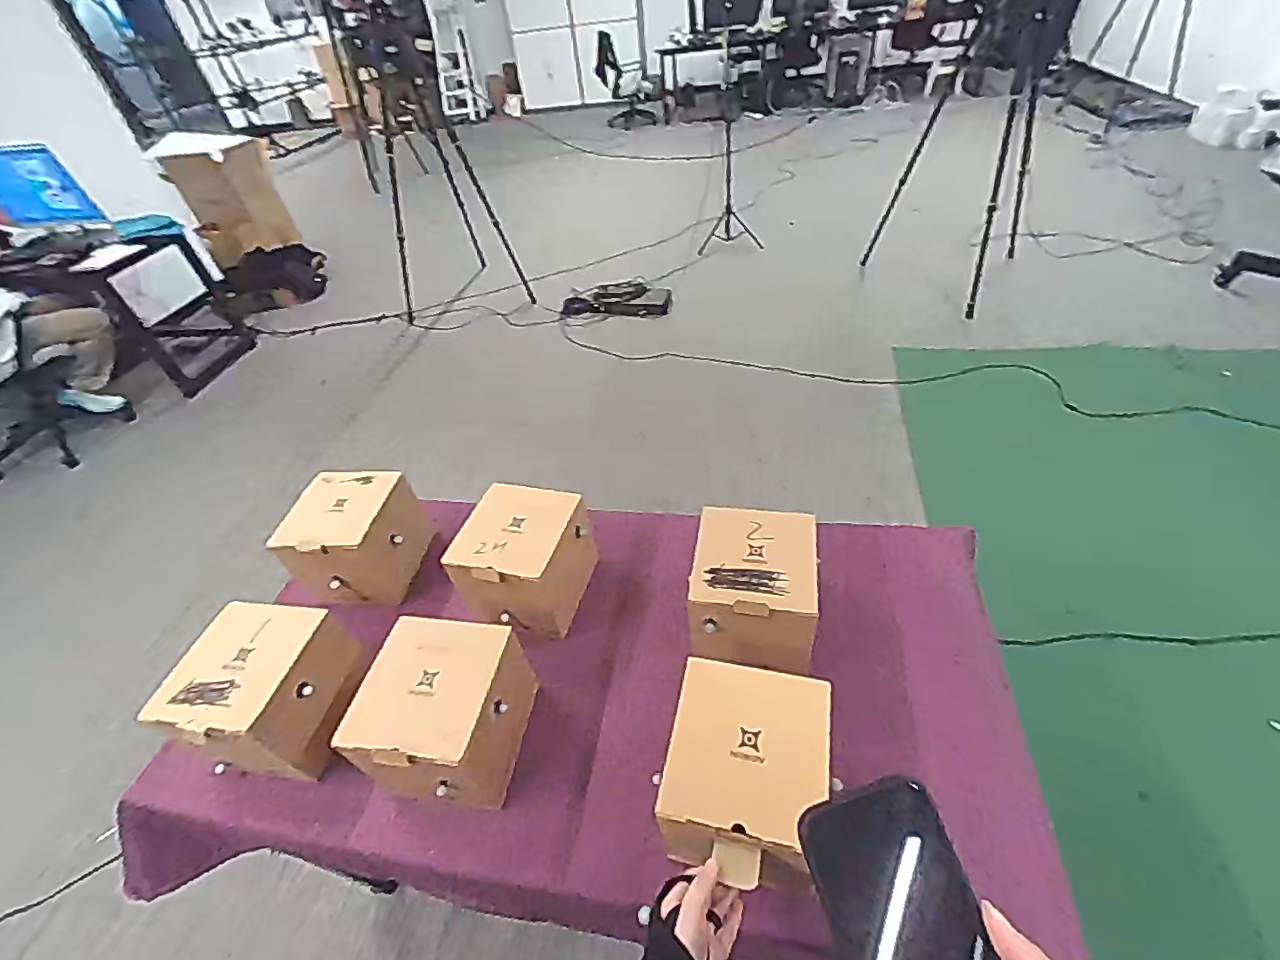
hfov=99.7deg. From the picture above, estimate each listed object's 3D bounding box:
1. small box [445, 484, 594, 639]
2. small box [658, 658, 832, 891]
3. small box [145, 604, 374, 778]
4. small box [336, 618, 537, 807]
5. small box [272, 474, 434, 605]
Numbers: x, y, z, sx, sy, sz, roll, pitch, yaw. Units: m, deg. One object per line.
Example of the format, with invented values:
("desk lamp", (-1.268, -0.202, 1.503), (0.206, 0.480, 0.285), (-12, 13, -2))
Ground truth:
("small box", (-0.184, 0.133, 0.897), (0.168, 0.176, 0.179), (7, 46, 17))
("small box", (0.124, 0.340, 0.629), (0.168, 0.176, 0.179), (6, 46, 15))
("small box", (-0.522, 0.303, 0.777), (0.168, 0.176, 0.179), (2, 43, 11))
("small box", (-0.252, 0.312, 0.724), (0.168, 0.176, 0.179), (3, 44, 11))
("small box", (-0.500, 0.109, 0.976), (0.168, 0.176, 0.179), (0, 45, 8))
